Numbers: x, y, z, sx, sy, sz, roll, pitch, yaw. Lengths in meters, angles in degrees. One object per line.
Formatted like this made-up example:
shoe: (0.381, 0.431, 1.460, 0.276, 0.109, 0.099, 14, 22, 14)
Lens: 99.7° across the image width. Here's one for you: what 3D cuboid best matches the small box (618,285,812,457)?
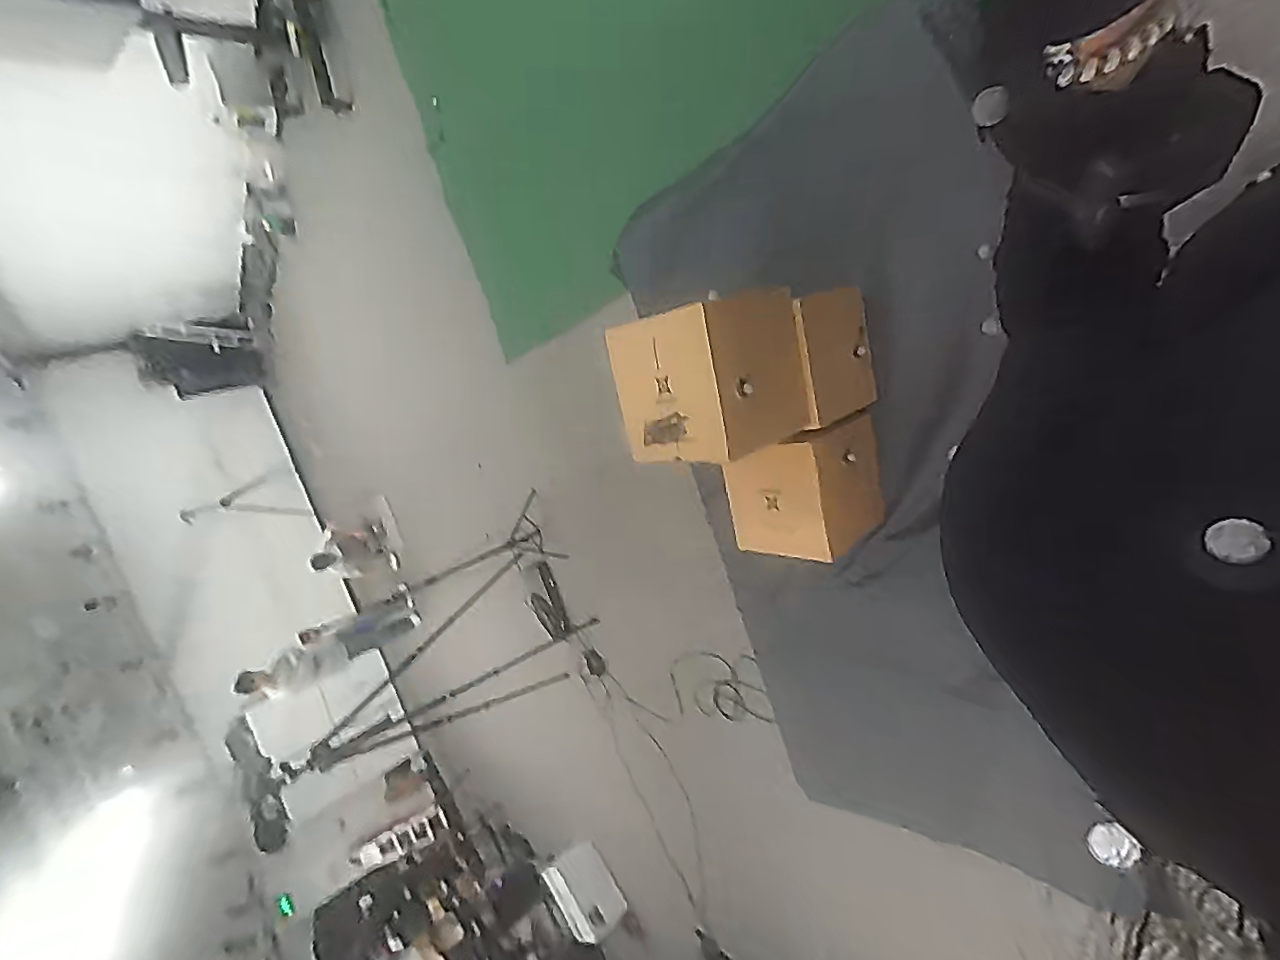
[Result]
small box: (0.102, -0.137, 0.693, 0.168, 0.176, 0.179, 2, 110, 49)
